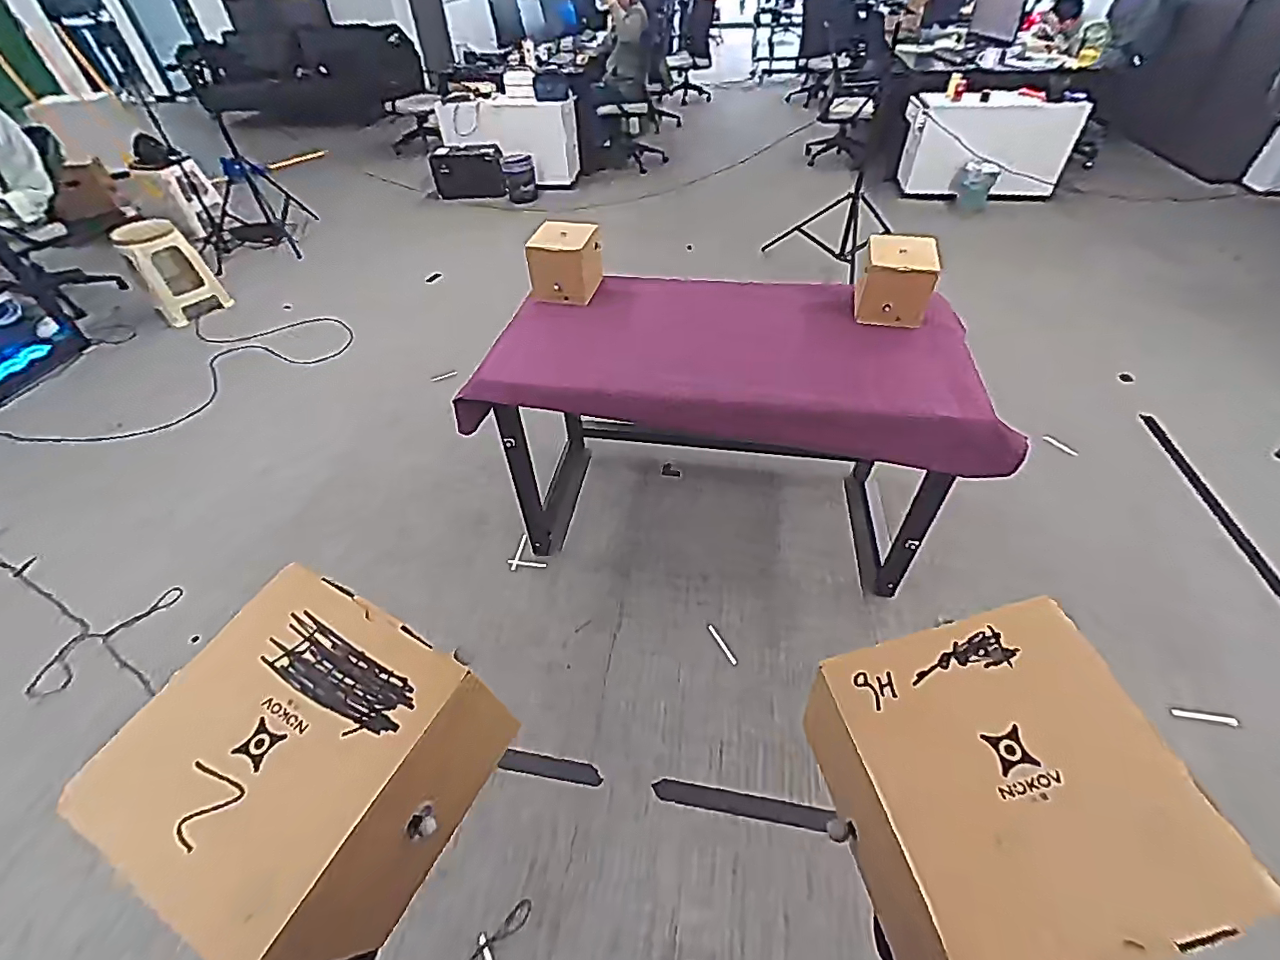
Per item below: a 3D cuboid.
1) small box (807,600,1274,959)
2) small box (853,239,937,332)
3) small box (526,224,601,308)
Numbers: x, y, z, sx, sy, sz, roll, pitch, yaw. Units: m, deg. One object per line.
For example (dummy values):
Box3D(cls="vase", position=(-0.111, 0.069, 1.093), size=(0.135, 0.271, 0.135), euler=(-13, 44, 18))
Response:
Box3D(cls="small box", position=(0.233, 0.215, 0.381), size=(0.168, 0.176, 0.179), euler=(-16, 53, -1))
Box3D(cls="small box", position=(0.682, -0.528, 1.465), size=(0.168, 0.176, 0.179), euler=(9, 51, 11))
Box3D(cls="small box", position=(-0.218, -0.633, 1.601), size=(0.168, 0.176, 0.179), euler=(9, 49, 11))
